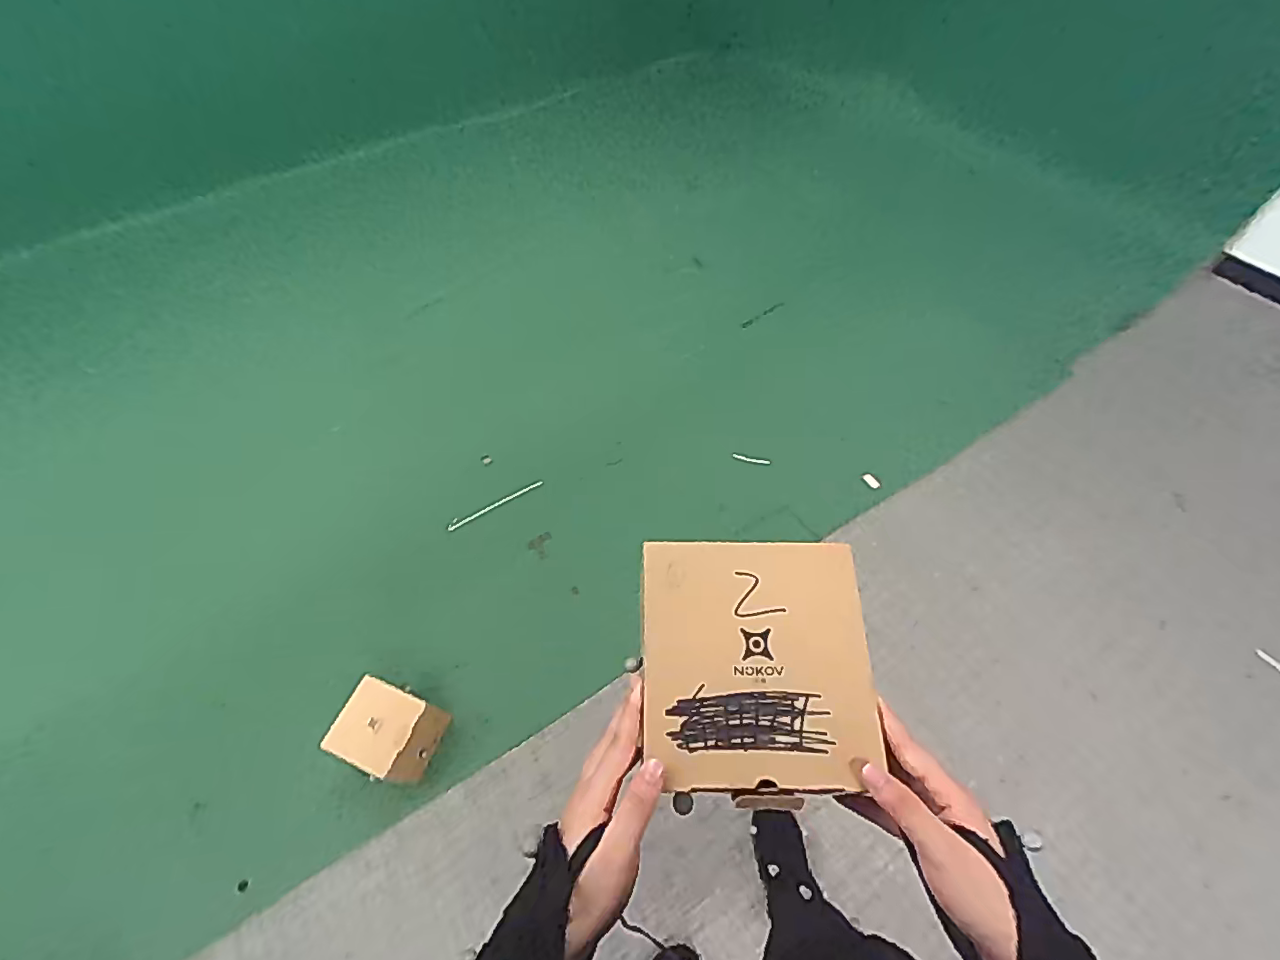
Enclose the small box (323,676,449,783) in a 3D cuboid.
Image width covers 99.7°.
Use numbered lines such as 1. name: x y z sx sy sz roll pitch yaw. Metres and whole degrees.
1. small box: -0.582 0.587 1.264 0.179 0.176 0.168 18 59 13
